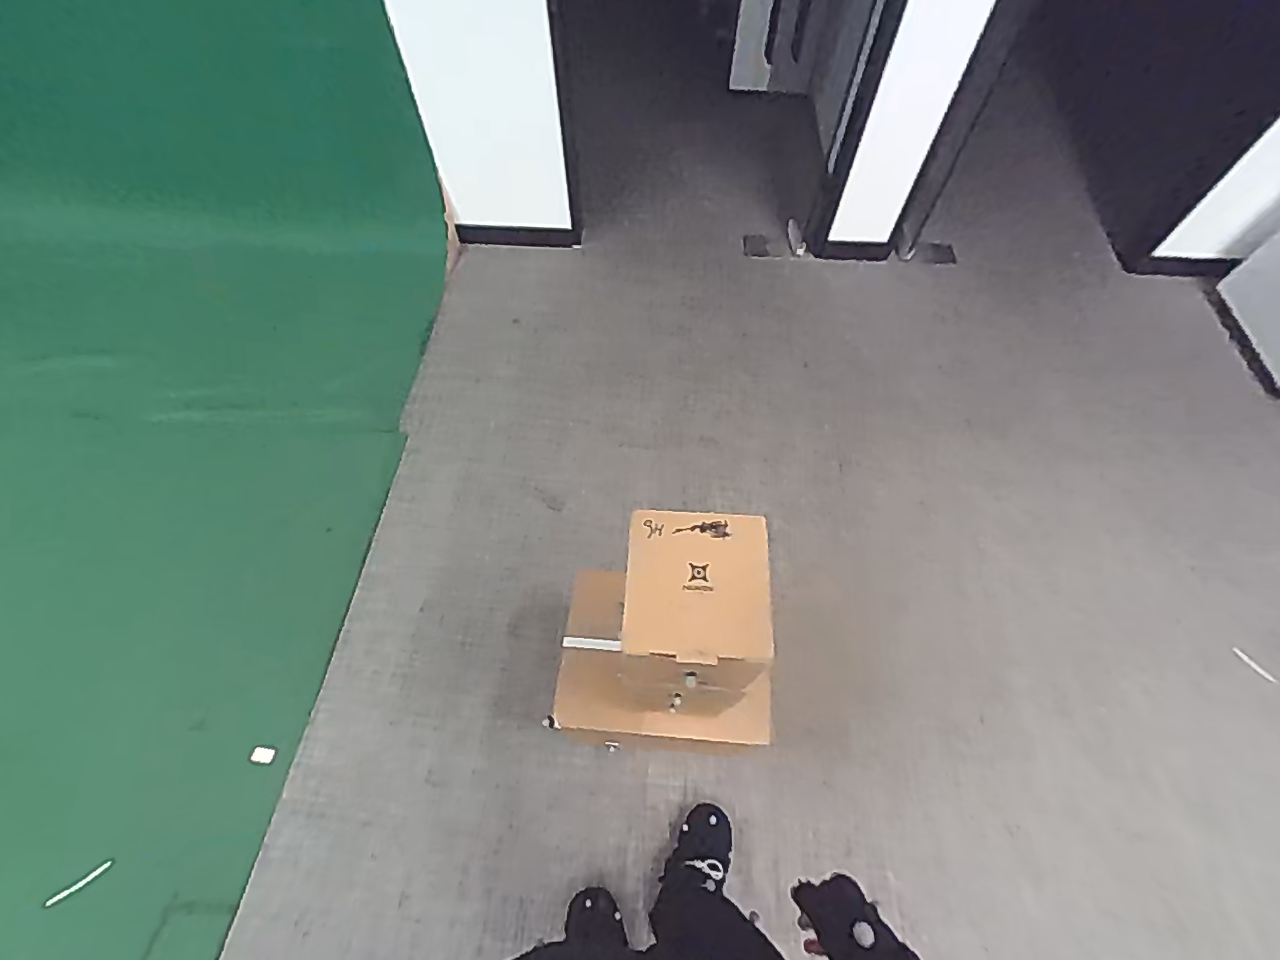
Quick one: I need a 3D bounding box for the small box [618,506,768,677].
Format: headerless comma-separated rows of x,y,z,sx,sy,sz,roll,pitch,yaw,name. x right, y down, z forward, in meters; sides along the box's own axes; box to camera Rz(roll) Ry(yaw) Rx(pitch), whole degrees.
0.066,0.148,0.689,0.168,0.176,0.179,2,61,3,small box

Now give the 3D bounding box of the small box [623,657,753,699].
0.071,0.235,0.828,0.179,0.176,0.168,2,61,4,small box

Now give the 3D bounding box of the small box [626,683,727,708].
0.069,0.312,0.973,0.179,0.176,0.168,3,61,1,small box
